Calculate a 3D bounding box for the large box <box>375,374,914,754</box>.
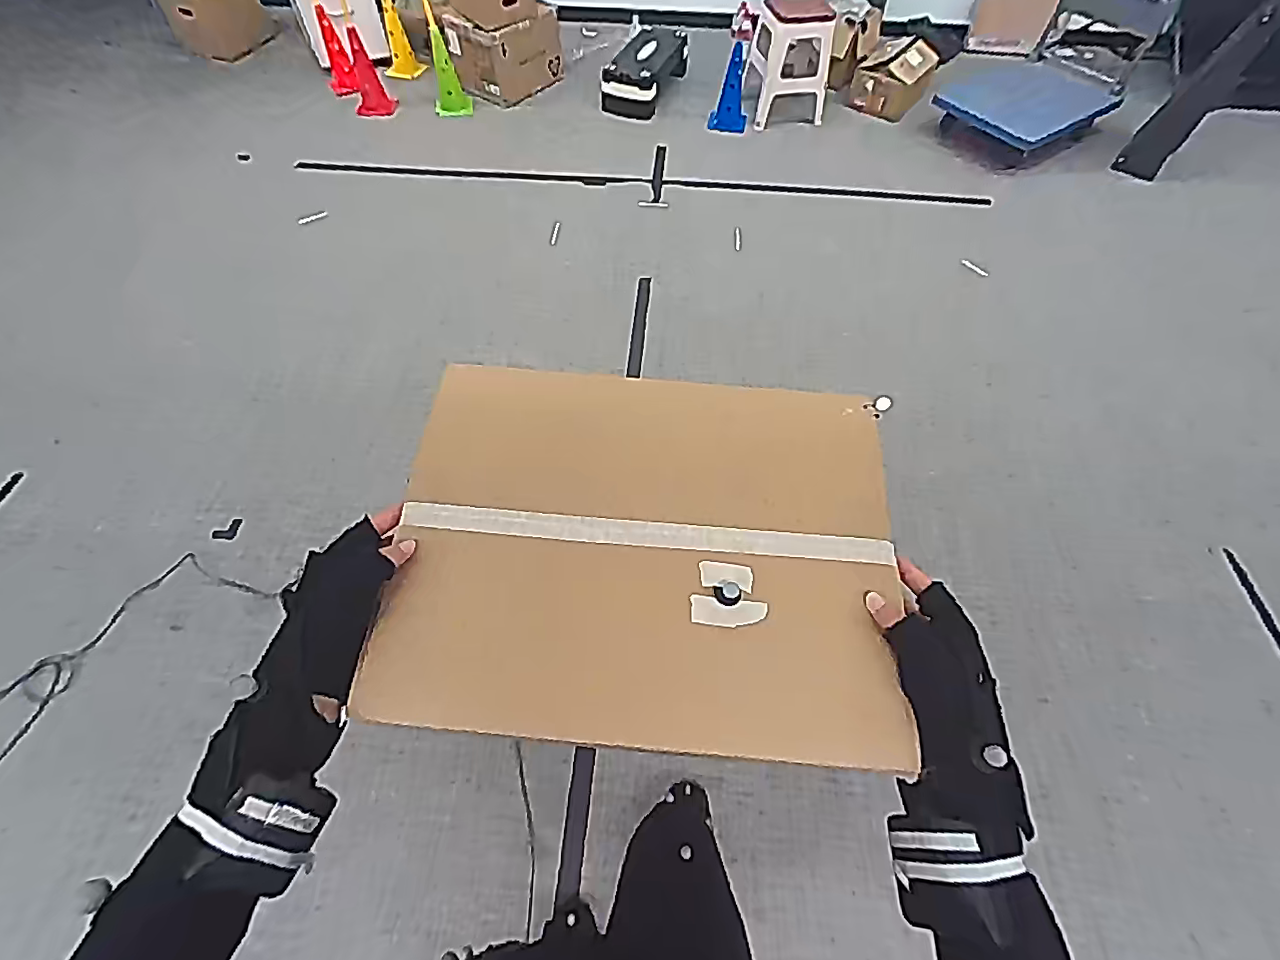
[{"bbox_3d":[0.007,0.113,0.590,0.408,0.320,0.320,5,64,1],"label":"large box"}]
